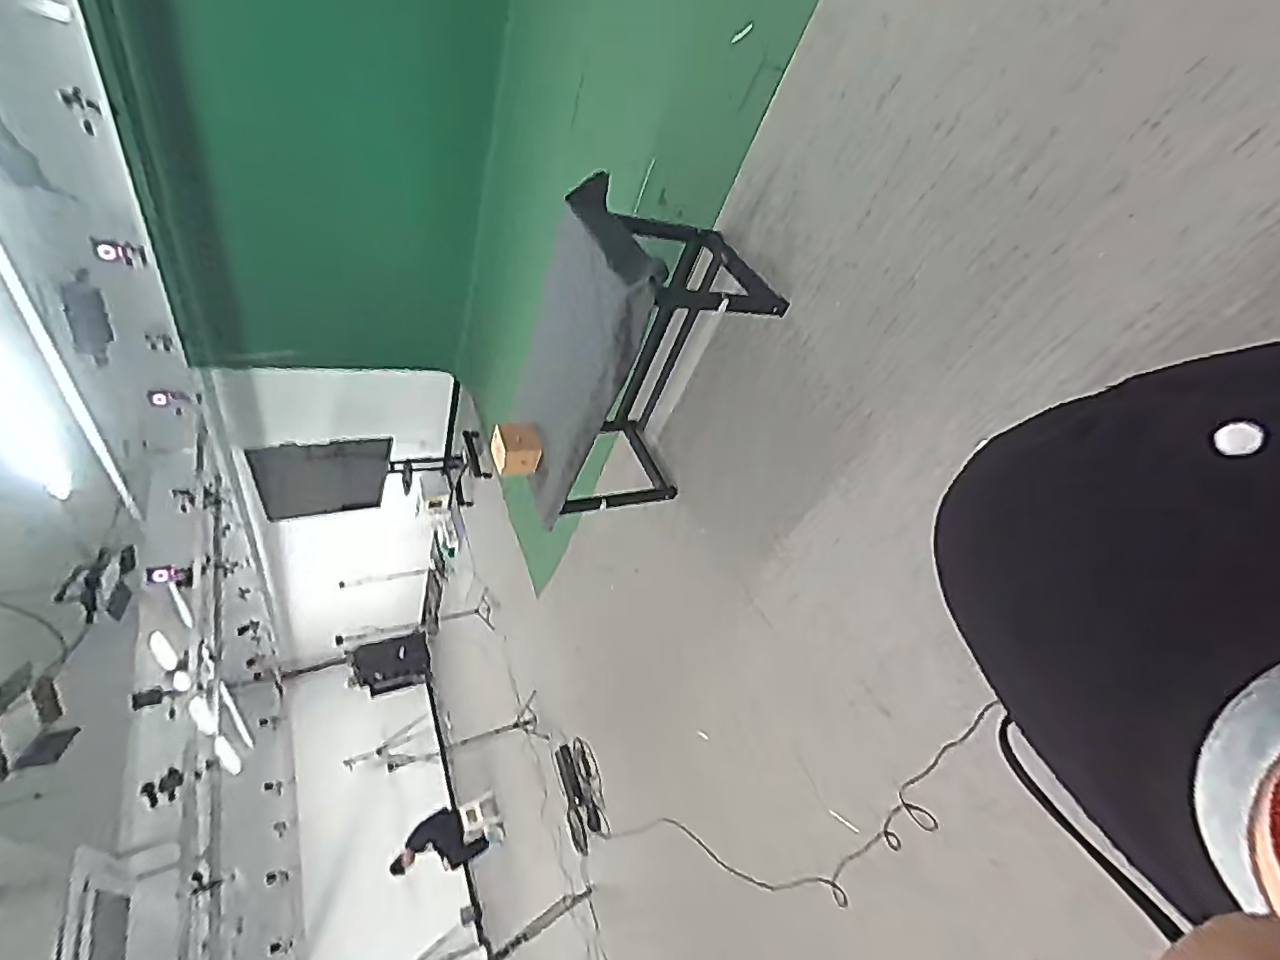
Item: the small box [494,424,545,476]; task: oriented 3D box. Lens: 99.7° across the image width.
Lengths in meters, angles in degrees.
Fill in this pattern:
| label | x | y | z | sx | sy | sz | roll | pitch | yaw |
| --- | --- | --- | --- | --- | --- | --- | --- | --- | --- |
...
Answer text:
| label | x | y | z | sx | sy | sz | roll | pitch | yaw |
| --- | --- | --- | --- | --- | --- | --- | --- | --- | --- |
| small box | -0.551 | -0.143 | 2.476 | 0.179 | 0.176 | 0.168 | 63 | 143 | 30 |
